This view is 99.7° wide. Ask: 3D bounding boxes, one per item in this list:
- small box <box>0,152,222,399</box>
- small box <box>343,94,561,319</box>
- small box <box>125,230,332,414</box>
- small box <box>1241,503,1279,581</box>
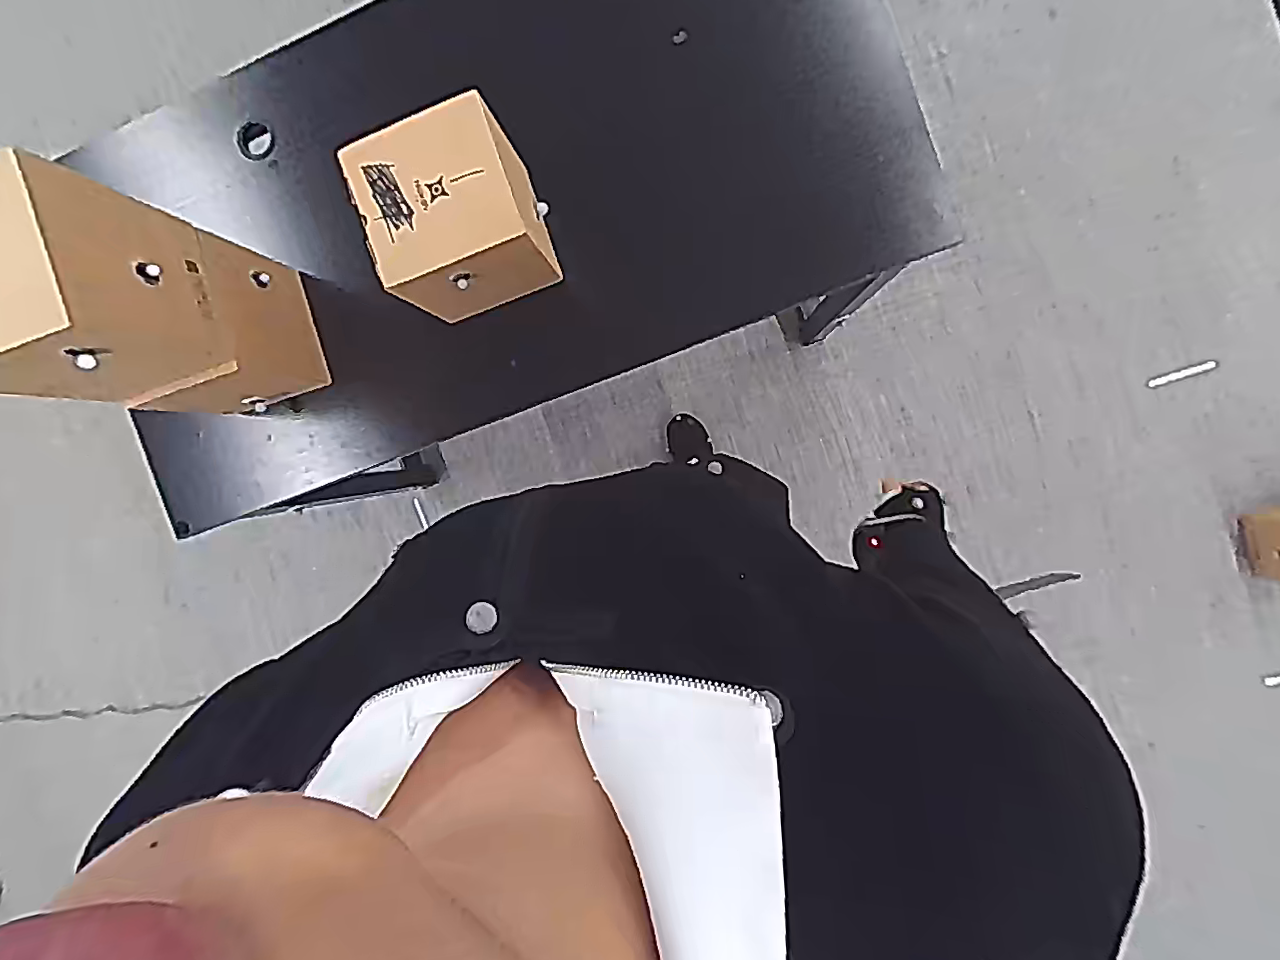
[{"bbox_3d":[-0.582,-0.189,0.559,0.179,0.176,0.168,-16,91,8],"label":"small box"},{"bbox_3d":[-0.220,-0.320,0.675,0.179,0.176,0.168,-19,91,6],"label":"small box"},{"bbox_3d":[-0.557,-0.195,0.722,0.168,0.176,0.179,-16,93,8],"label":"small box"},{"bbox_3d":[1.560,0.144,1.246,0.179,0.176,0.168,-17,92,8],"label":"small box"}]
